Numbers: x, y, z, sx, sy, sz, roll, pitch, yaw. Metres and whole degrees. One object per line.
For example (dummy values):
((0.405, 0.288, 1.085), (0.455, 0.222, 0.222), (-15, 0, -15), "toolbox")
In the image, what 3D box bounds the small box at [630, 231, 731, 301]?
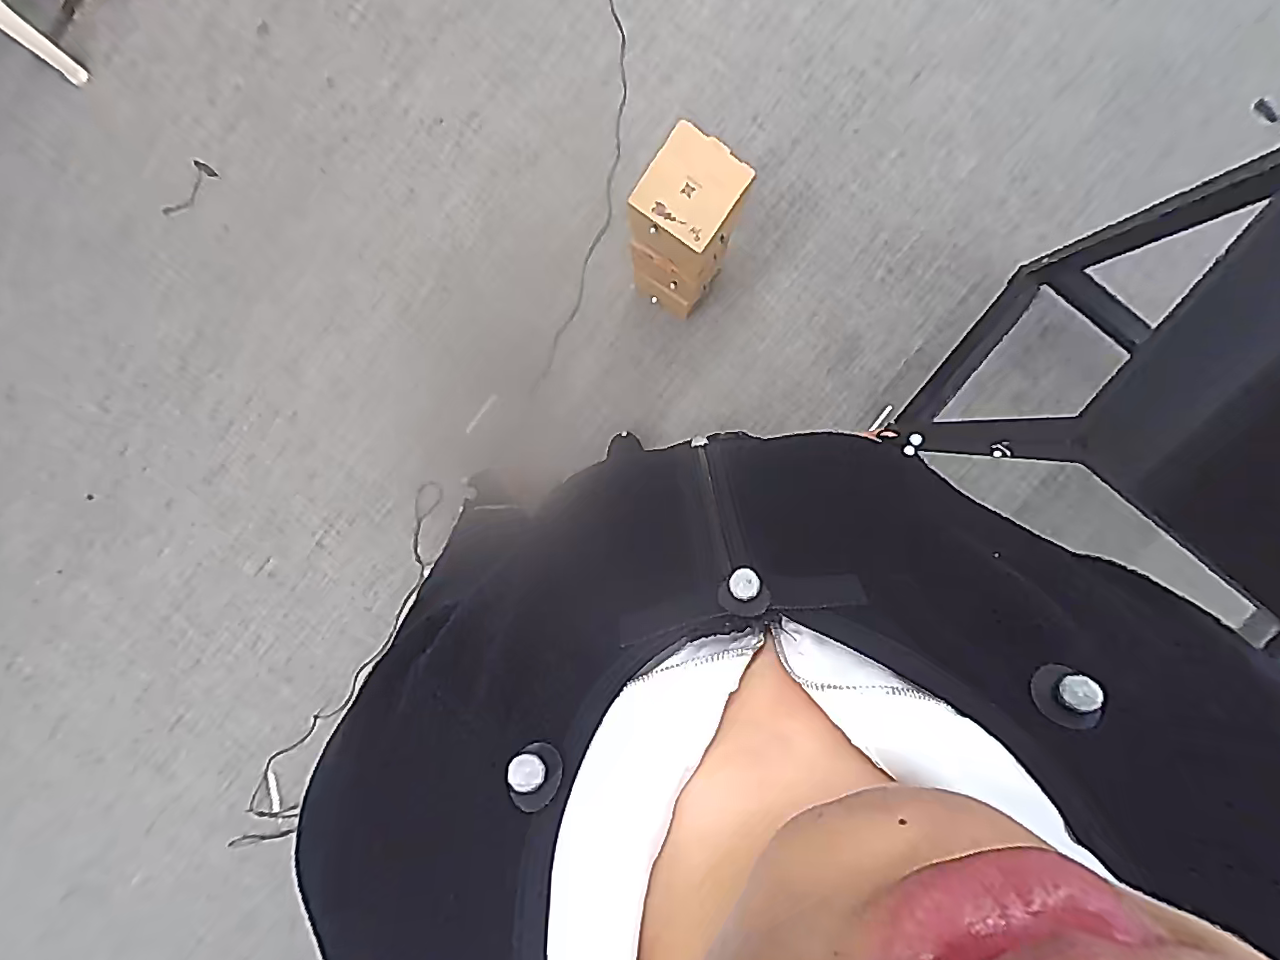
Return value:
((0.095, -0.532, 1.213), (0.168, 0.176, 0.179), (32, 94, -1), "small box")

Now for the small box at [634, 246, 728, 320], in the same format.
((0.100, -0.538, 1.375), (0.168, 0.176, 0.179), (35, 96, 0), "small box")

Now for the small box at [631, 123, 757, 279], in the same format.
((0.096, -0.528, 1.049), (0.168, 0.176, 0.179), (35, 94, -1), "small box")
